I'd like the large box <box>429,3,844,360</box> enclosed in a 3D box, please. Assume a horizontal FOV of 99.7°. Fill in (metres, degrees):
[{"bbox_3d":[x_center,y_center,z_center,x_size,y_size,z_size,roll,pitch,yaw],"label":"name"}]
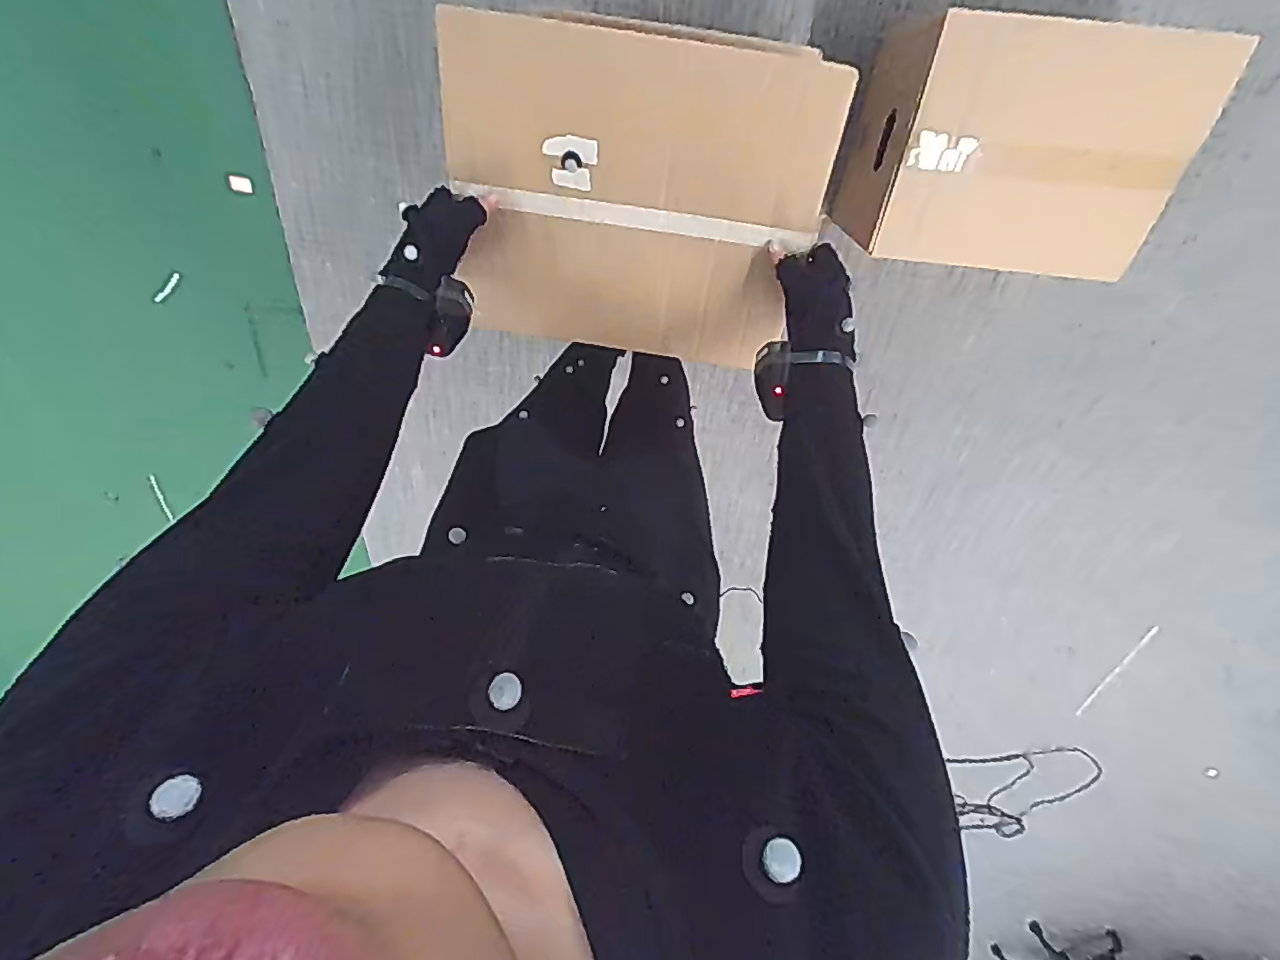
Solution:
[{"bbox_3d":[-0.002,-0.388,0.711,0.408,0.320,0.320,10,127,1],"label":"large box"}]
